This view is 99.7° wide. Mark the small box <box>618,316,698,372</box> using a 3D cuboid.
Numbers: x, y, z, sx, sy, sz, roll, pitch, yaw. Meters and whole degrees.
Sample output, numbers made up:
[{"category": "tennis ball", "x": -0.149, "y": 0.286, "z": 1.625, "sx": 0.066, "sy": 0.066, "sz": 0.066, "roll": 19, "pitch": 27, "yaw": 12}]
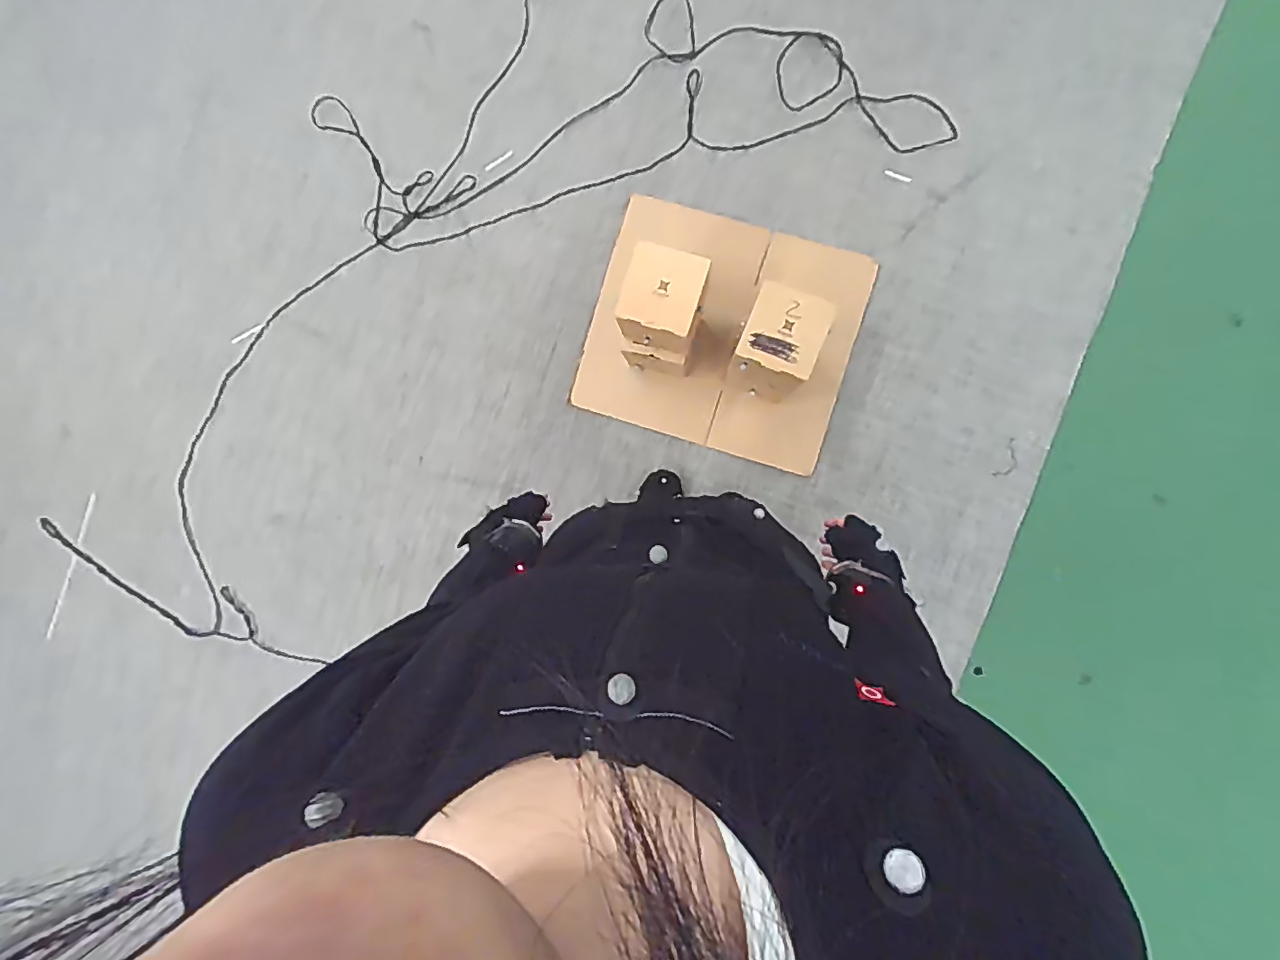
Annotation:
[{"category": "small box", "x": 0.054, "y": -0.392, "z": 1.395, "sx": 0.168, "sy": 0.176, "sz": 0.179, "roll": 15, "pitch": 92, "yaw": 5}]

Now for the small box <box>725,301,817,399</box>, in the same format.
[{"category": "small box", "x": 0.323, "y": -0.323, "z": 1.375, "sx": 0.168, "sy": 0.176, "sz": 0.179, "roll": 22, "pitch": 93, "yaw": 5}]

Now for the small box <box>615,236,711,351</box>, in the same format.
[{"category": "small box", "x": 0.053, "y": -0.416, "z": 1.231, "sx": 0.168, "sy": 0.176, "sz": 0.179, "roll": 18, "pitch": 92, "yaw": 4}]
